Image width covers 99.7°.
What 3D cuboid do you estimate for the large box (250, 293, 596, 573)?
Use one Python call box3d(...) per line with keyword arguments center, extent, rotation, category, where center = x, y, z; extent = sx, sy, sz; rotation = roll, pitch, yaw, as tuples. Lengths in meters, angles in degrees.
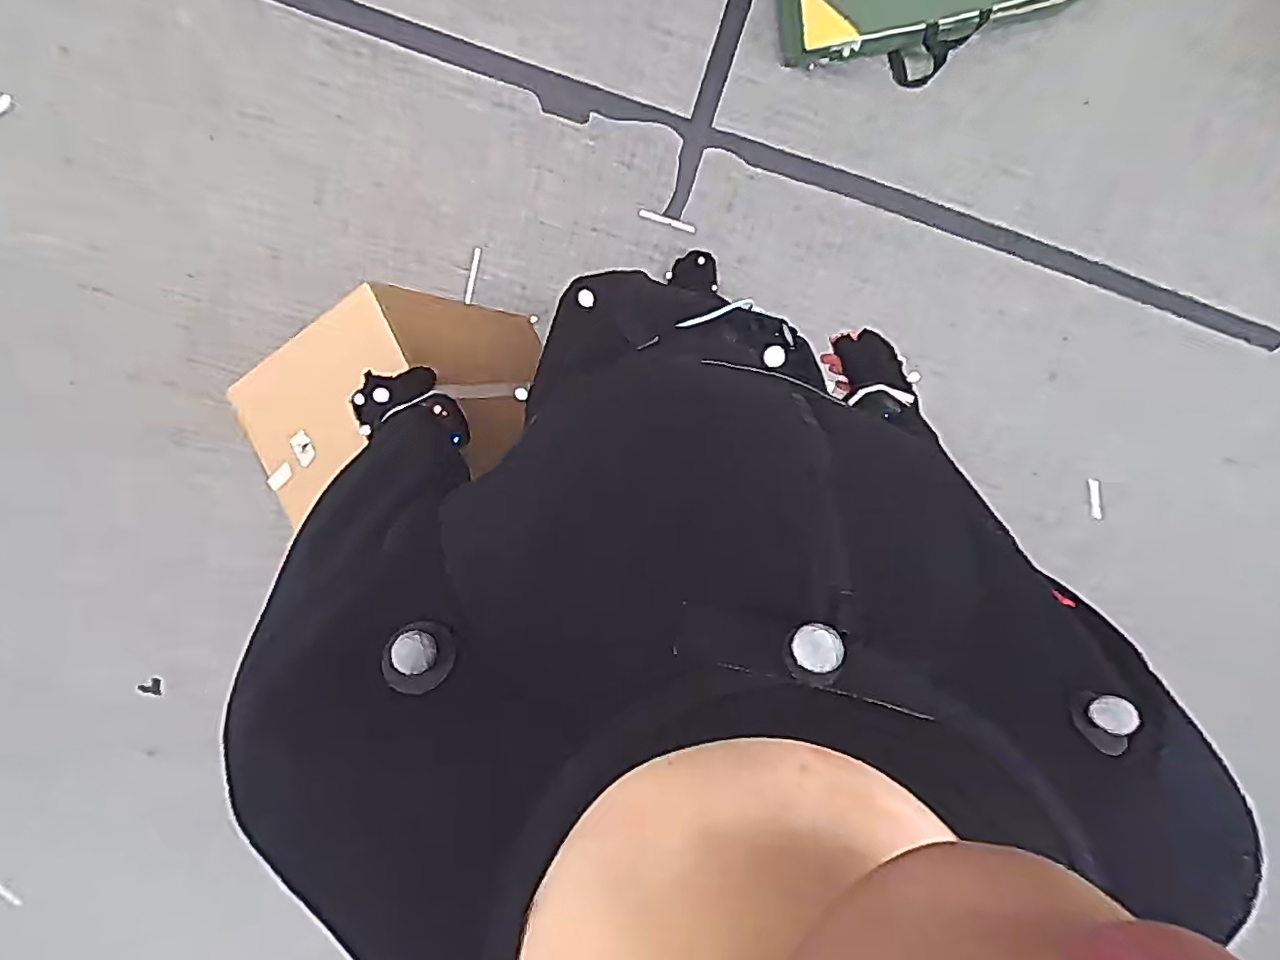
box3d(center=(-0.338, -0.085, 0.940), extent=(0.320, 0.408, 0.320), rotation=(-24, 92, 20), category="large box")
